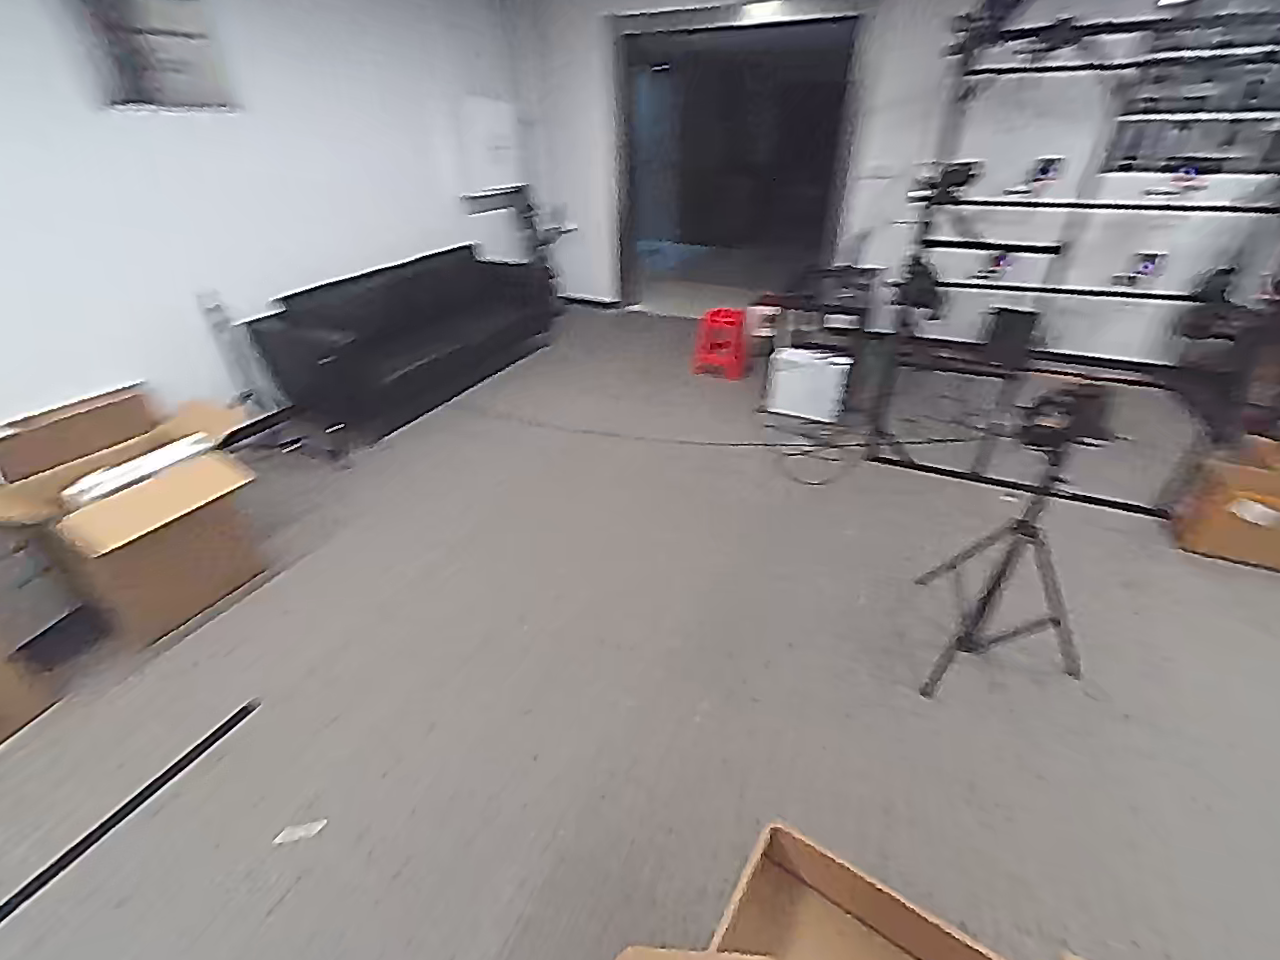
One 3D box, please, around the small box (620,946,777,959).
[{"bbox_3d":[0.049,0.626,0.575,0.179,0.176,0.168,11,38,-8],"label":"small box"}]
